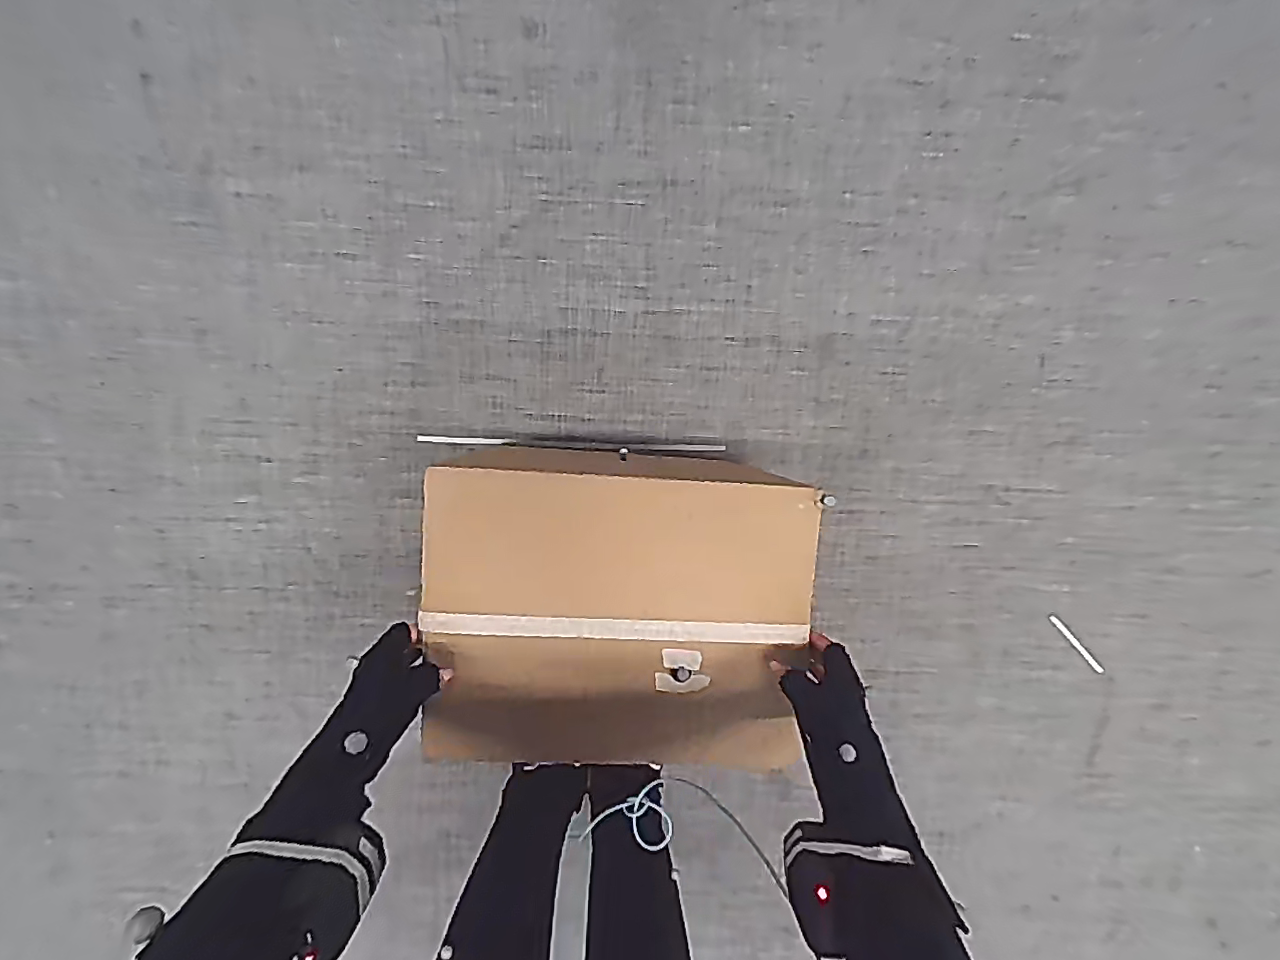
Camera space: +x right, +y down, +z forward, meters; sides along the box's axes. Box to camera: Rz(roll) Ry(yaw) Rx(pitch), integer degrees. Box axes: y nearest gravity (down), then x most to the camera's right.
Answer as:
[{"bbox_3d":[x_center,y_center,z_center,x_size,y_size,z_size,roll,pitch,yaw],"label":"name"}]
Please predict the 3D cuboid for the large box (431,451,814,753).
[{"bbox_3d":[-0.032,0.127,0.722,0.408,0.320,0.320,3,98,-5],"label":"large box"}]
